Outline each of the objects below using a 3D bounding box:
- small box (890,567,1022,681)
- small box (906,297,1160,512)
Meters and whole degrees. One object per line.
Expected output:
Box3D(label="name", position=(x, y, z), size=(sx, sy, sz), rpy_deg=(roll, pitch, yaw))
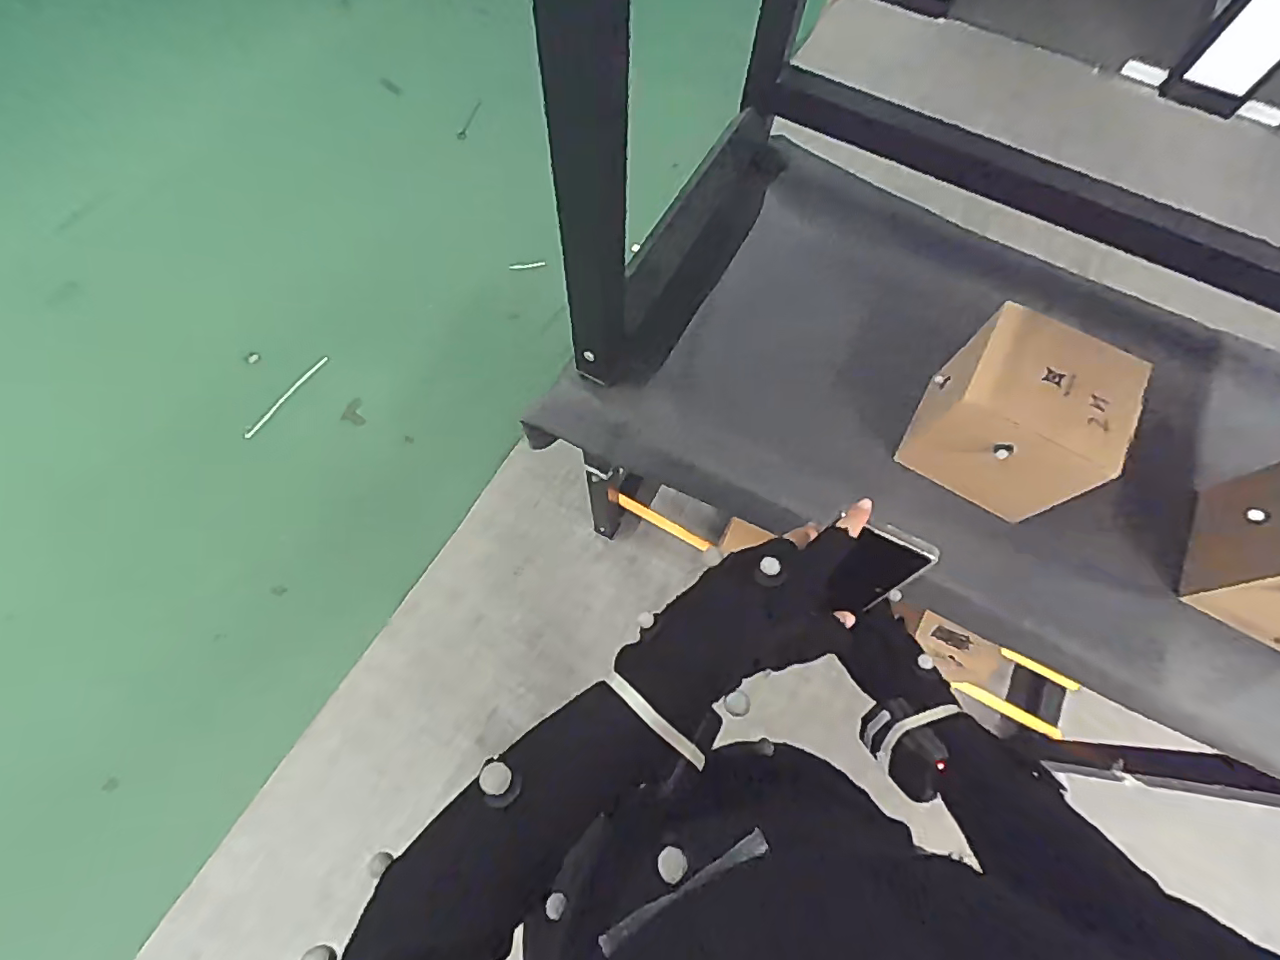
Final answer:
Box3D(label="small box", position=(0.680, 0.322, 1.186), size=(0.168, 0.176, 0.179), rpy_deg=(31, 70, 10))
Box3D(label="small box", position=(0.470, -0.083, 0.672), size=(0.179, 0.176, 0.168), rpy_deg=(31, 70, 10))
